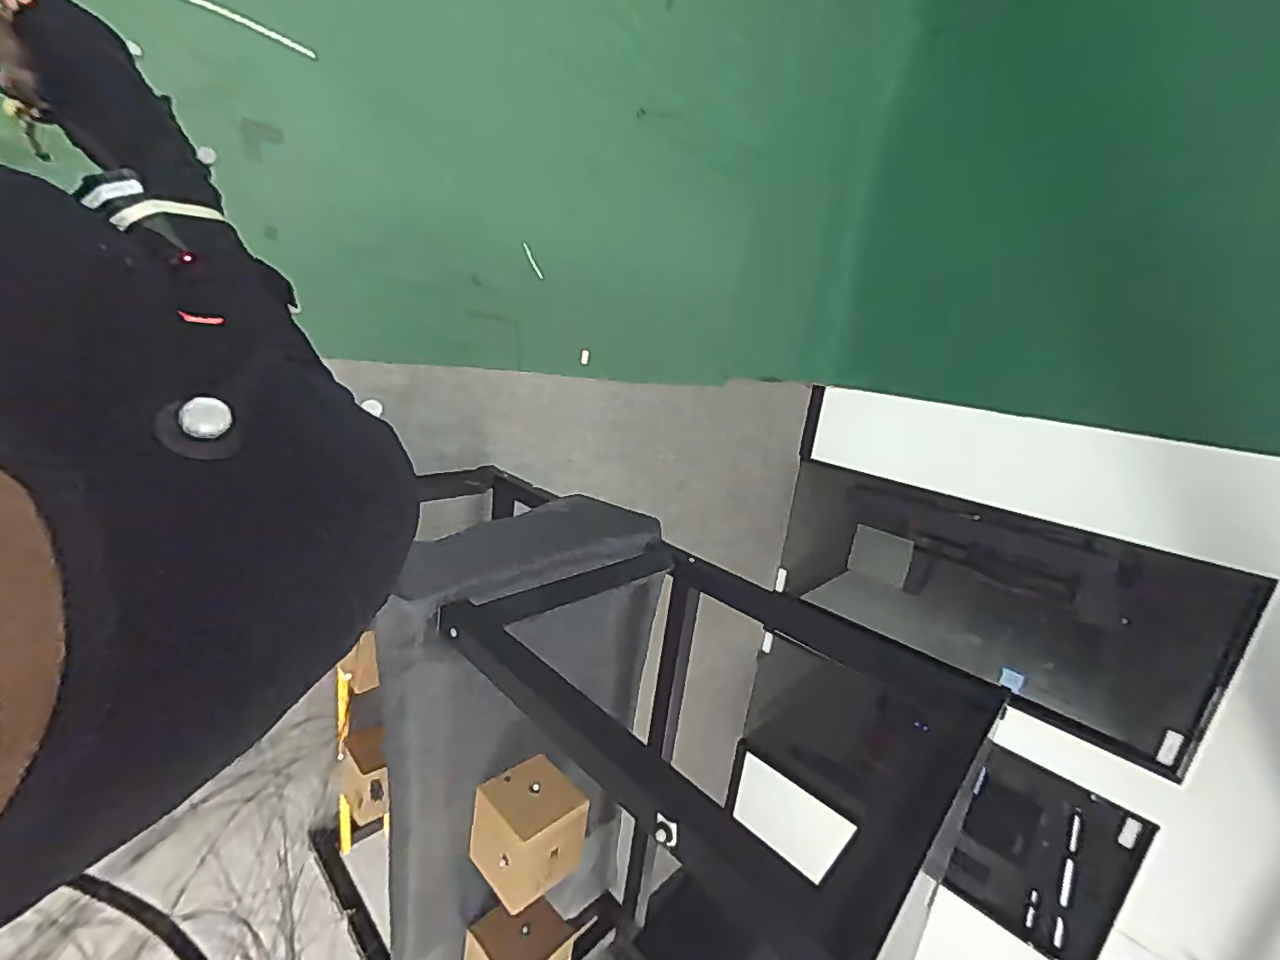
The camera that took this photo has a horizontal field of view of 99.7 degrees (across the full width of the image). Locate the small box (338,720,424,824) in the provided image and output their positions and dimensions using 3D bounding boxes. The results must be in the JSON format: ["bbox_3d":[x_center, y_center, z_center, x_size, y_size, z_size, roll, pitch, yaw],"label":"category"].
[{"bbox_3d":[-0.750,0.829,1.555,0.179,0.176,0.168,-4,109,-47],"label":"small box"}]

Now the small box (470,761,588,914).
[{"bbox_3d":[-0.232,0.718,1.117,0.168,0.176,0.179,-4,109,-47],"label":"small box"}]
